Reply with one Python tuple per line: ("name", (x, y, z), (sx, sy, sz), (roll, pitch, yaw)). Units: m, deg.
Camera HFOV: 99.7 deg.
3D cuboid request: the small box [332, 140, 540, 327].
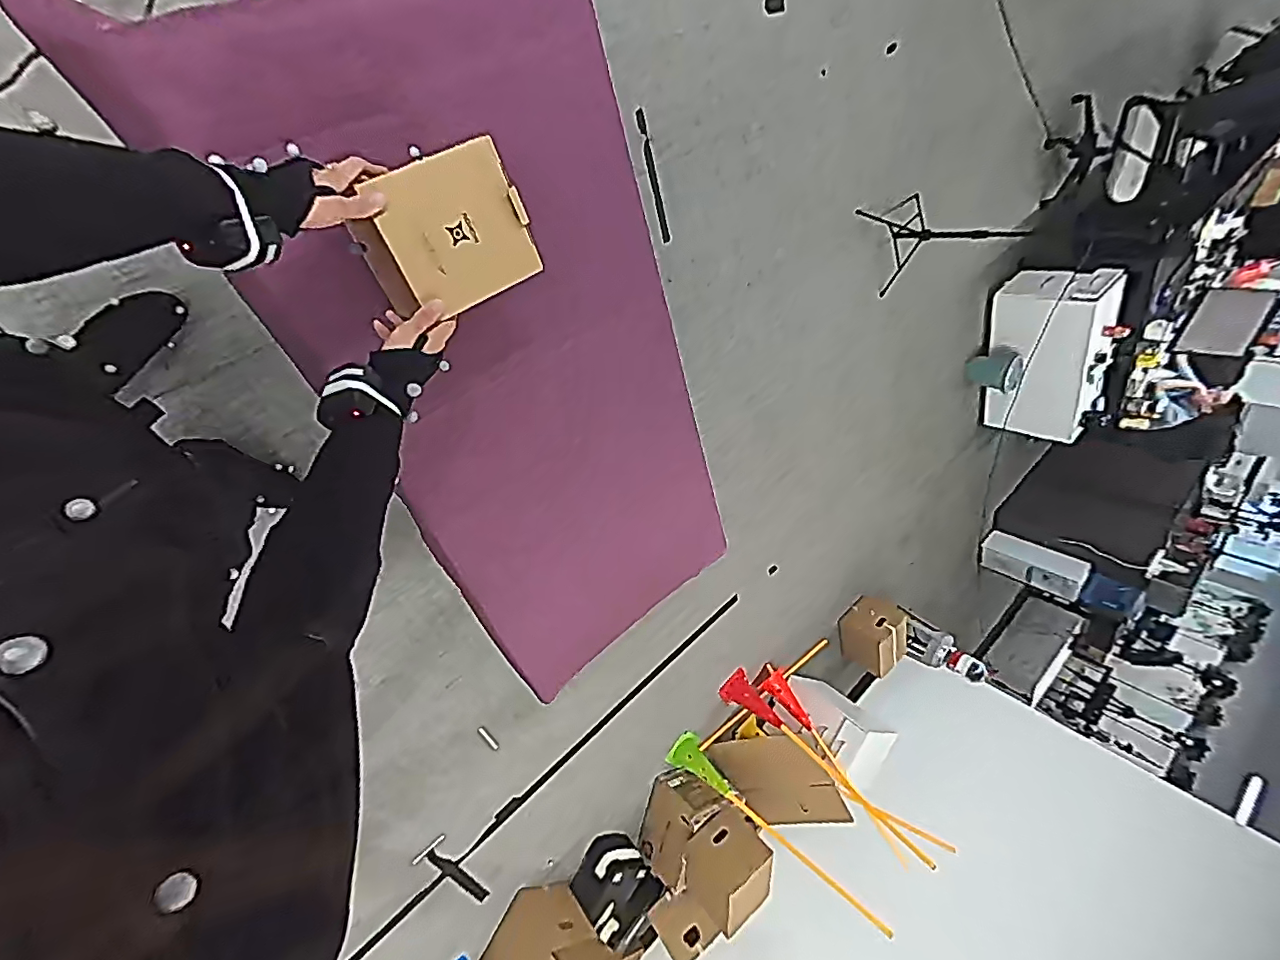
("small box", (-0.268, -0.322, 0.711), (0.179, 0.176, 0.168), (-36, 128, -22))
